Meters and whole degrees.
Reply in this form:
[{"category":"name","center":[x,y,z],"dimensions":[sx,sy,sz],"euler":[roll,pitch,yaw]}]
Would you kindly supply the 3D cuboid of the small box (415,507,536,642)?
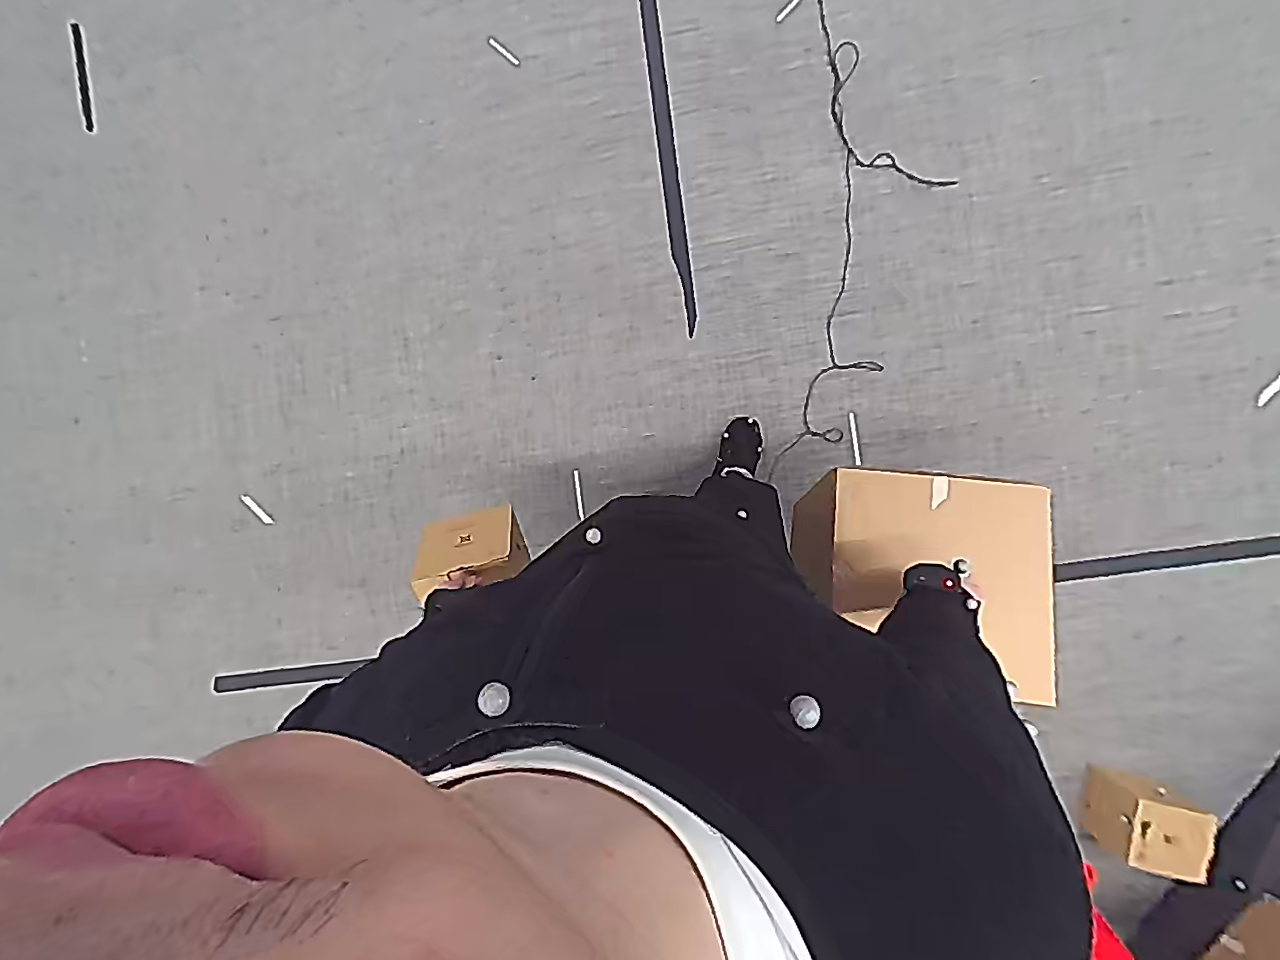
[{"category":"small box","center":[-0.294,0.179,1.006],"dimensions":[0.168,0.179,0.176],"euler":[-14,118,-5]}]
